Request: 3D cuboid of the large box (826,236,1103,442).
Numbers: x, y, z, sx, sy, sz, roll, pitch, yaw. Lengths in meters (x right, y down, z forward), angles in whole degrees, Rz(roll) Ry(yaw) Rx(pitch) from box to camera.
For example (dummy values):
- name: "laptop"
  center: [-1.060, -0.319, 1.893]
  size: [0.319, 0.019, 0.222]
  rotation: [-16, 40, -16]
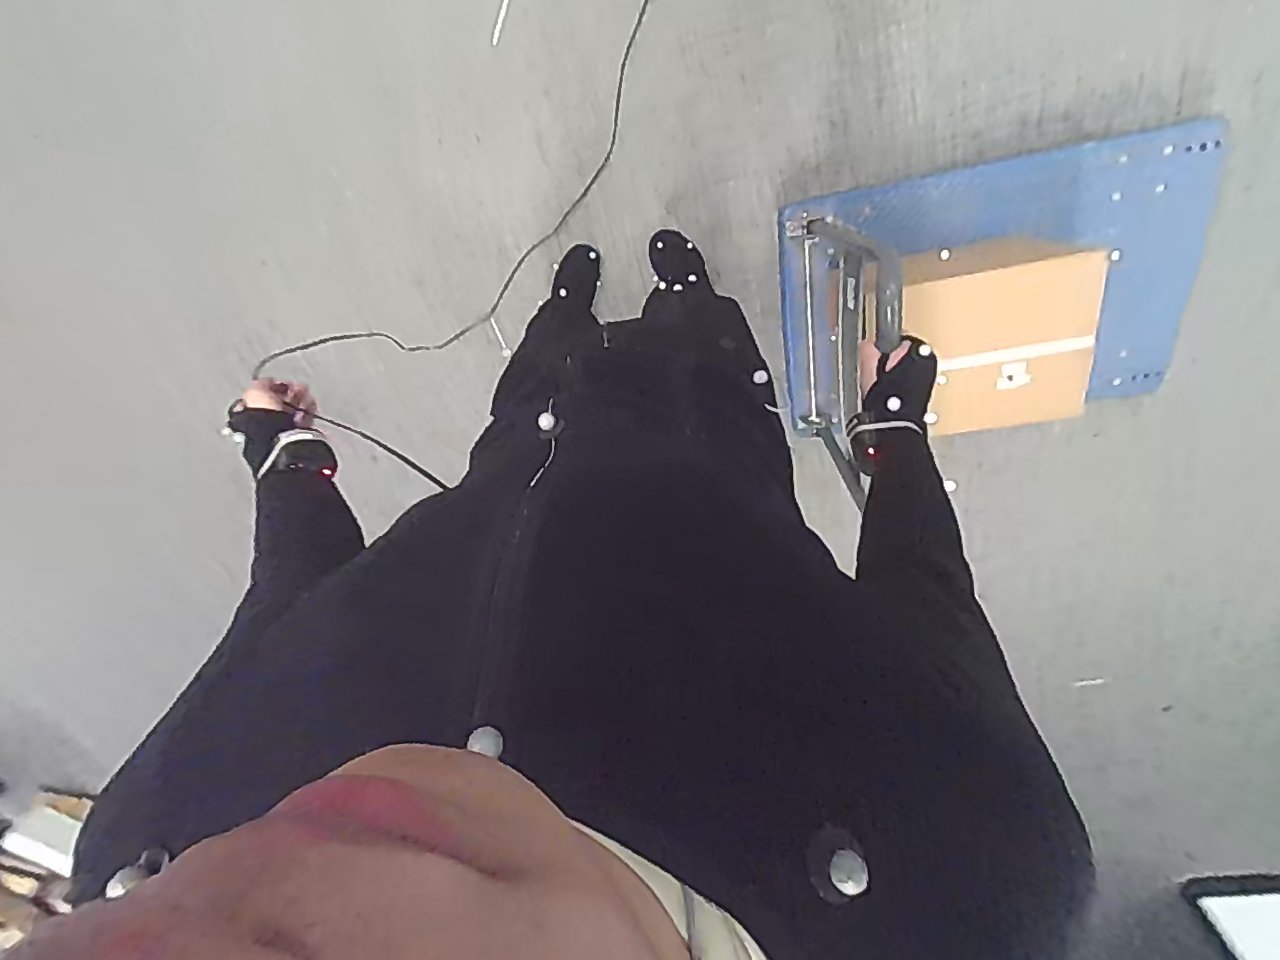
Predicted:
- name: "large box"
  center: [0.644, -0.310, 1.156]
  size: [0.408, 0.320, 0.320]
  rotation: [-8, 118, 9]
